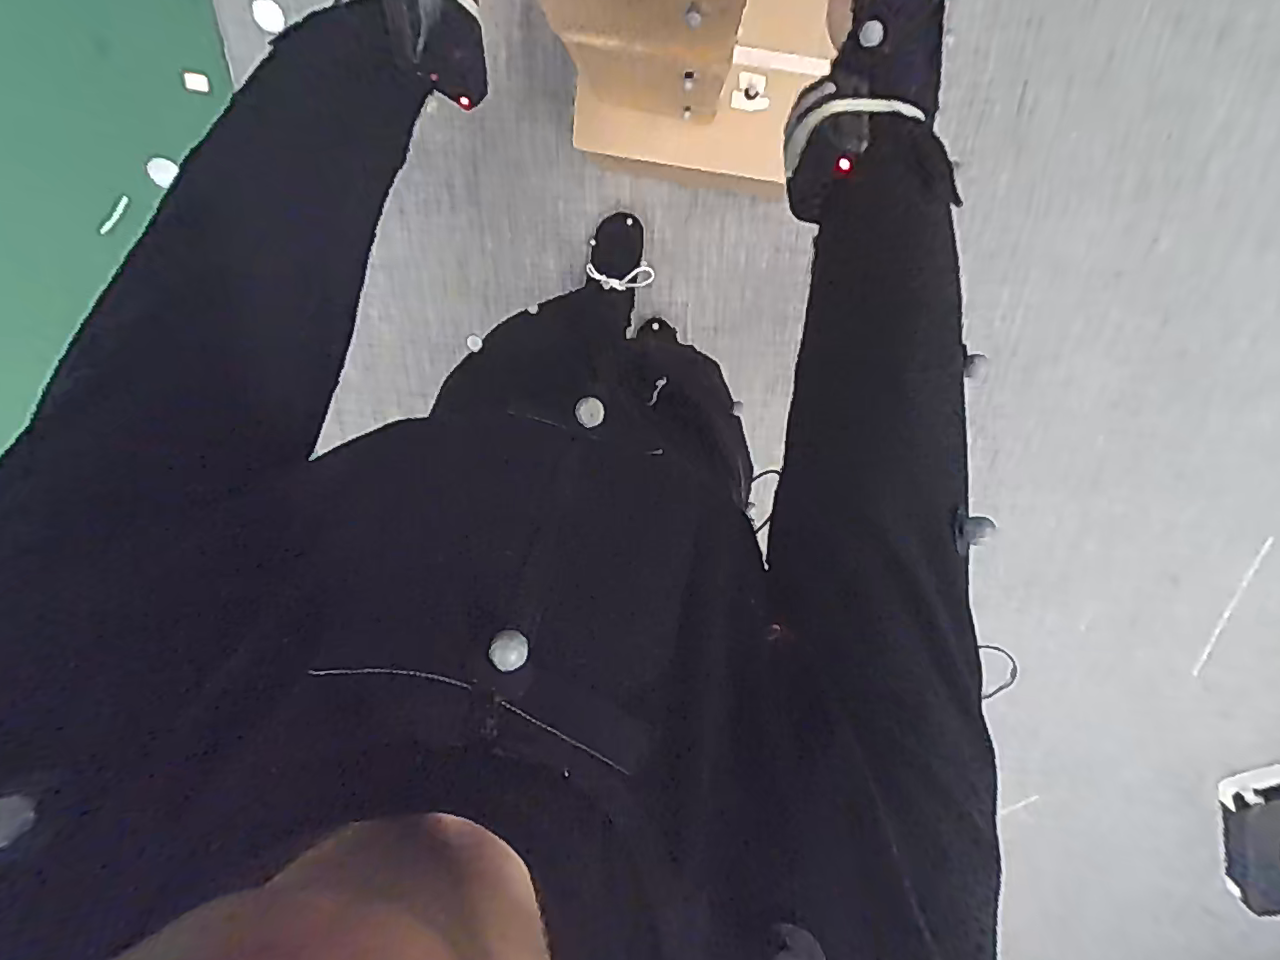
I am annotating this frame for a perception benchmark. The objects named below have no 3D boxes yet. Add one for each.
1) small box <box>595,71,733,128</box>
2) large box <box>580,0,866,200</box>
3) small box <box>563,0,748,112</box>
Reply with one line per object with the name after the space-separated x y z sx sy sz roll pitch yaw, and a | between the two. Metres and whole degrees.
0.039 -0.593 0.727 0.179 0.176 0.168 9 113 0 | small box
0.119 -0.694 0.944 0.408 0.320 0.320 8 115 -2 | large box
0.025 -0.522 0.581 0.179 0.176 0.168 10 113 -3 | small box
